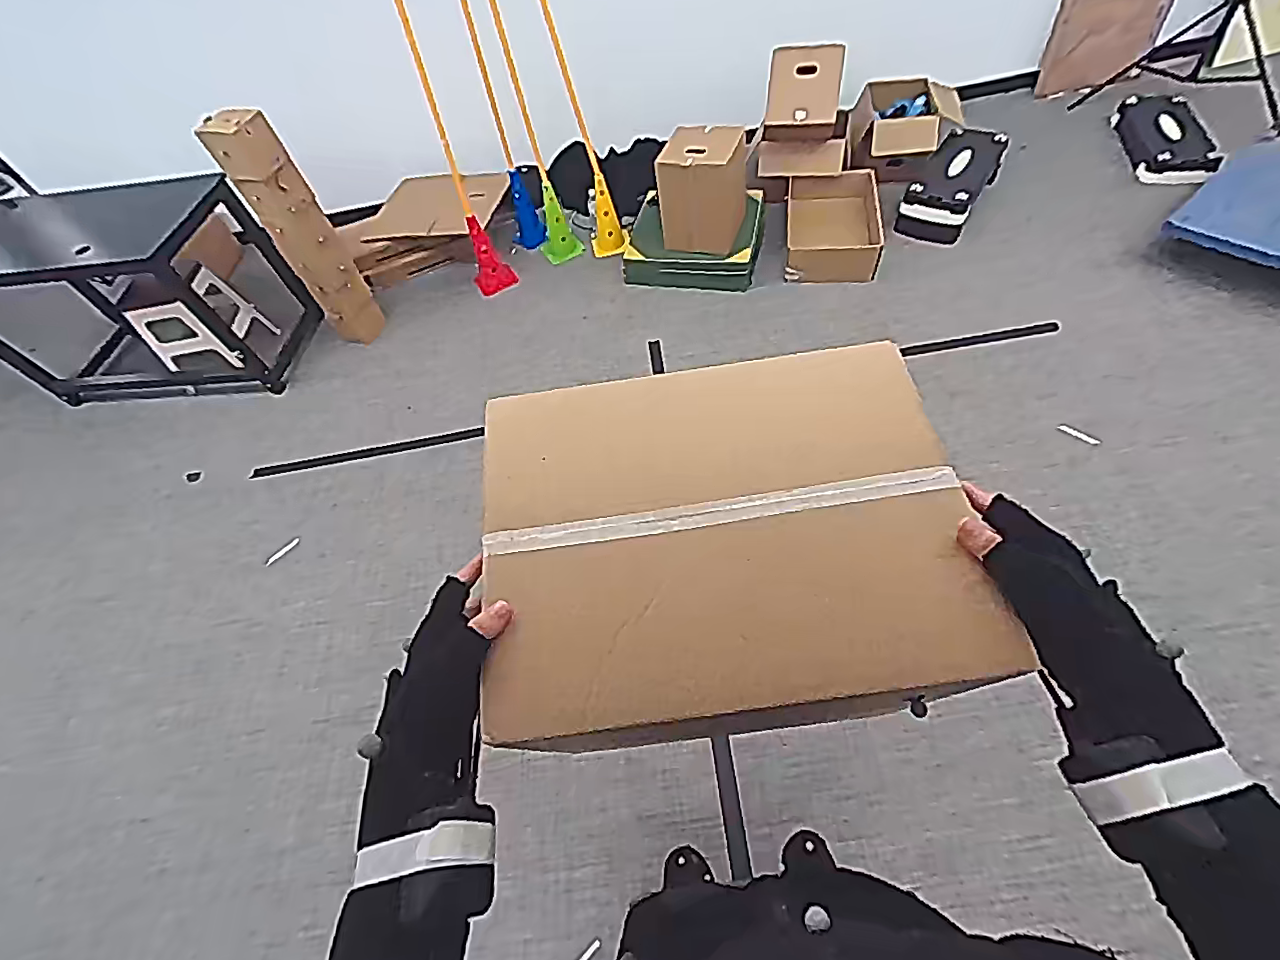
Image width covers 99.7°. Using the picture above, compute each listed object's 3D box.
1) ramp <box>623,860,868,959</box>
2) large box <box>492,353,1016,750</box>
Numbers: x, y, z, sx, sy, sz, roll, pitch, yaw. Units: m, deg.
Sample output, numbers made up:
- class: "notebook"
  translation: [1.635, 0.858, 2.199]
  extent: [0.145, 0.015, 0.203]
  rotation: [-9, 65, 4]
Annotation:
- class: "ramp"
  translation: [0.267, 1.308, 0.974]
  extent: [0.509, 0.206, 0.991]
  rotation: [-10, 56, 0]
- class: "large box"
  translation: [0.080, 0.103, 0.601]
  extent: [0.408, 0.320, 0.320]
  rotation: [-8, 61, 1]
